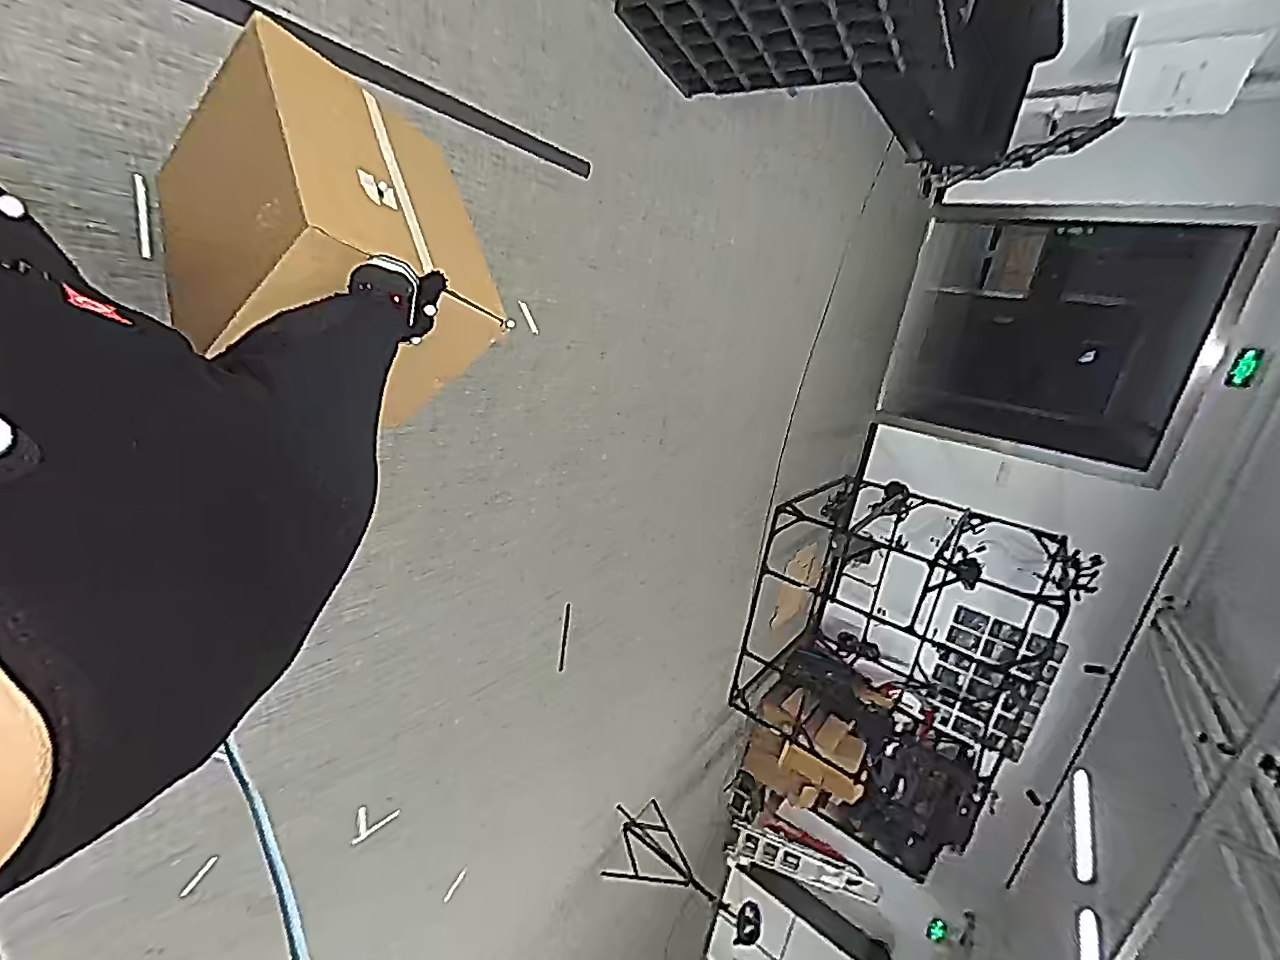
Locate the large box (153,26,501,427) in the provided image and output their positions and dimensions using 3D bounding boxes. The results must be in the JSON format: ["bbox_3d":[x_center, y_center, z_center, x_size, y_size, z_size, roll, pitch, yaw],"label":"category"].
[{"bbox_3d":[-0.488,-0.352,0.849,0.320,0.408,0.320,-32,160,23],"label":"large box"}]
